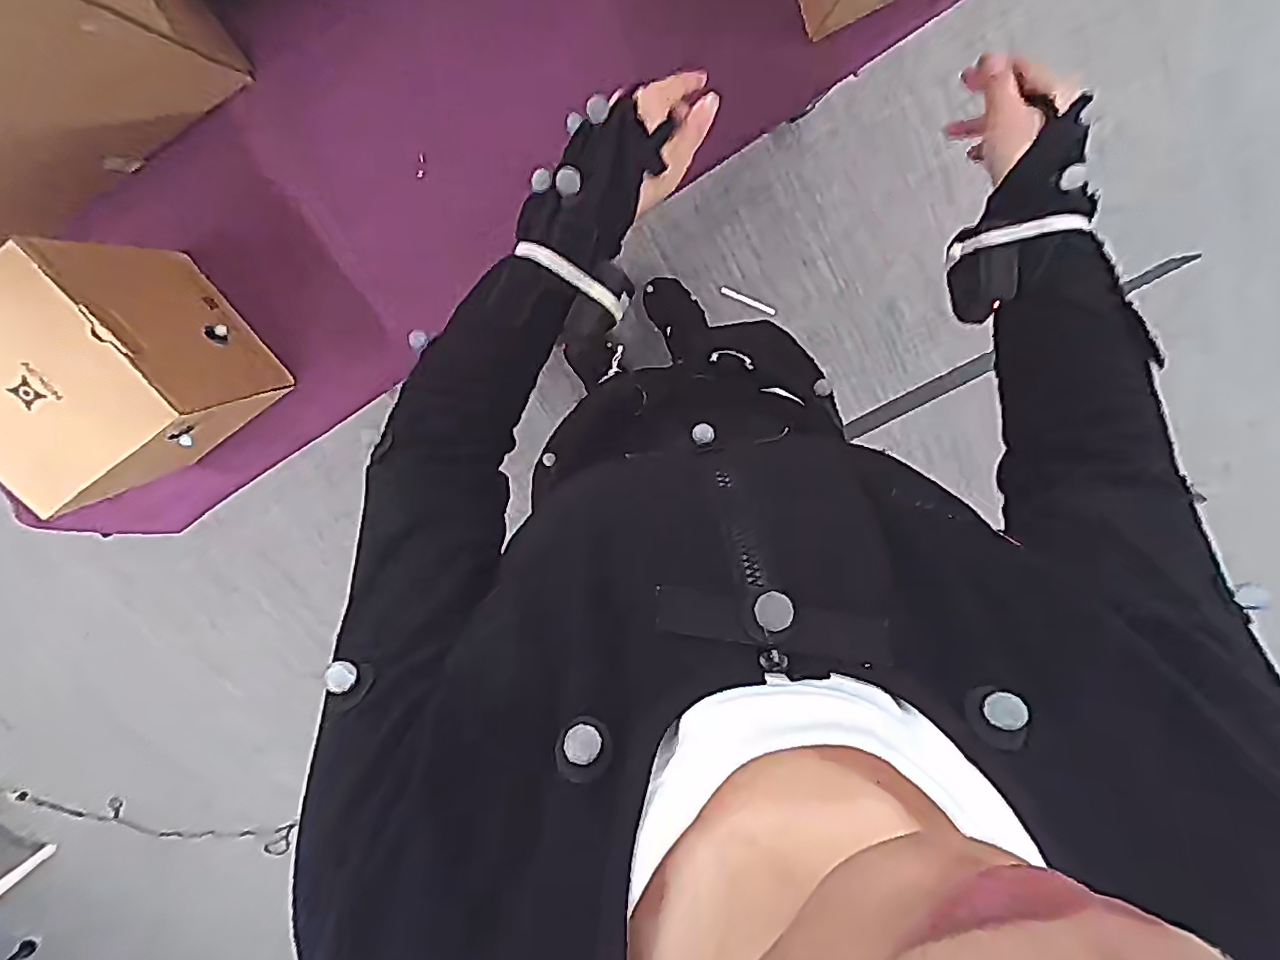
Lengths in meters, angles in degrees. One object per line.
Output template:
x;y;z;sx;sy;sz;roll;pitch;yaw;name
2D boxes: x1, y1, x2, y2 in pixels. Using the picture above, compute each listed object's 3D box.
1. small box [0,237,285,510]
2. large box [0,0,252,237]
-0.504;-0.105;0.526;0.179;0.176;0.168;-33;107;9;small box
-0.585;-0.417;0.333;0.320;0.320;0.408;-27;111;12;large box
